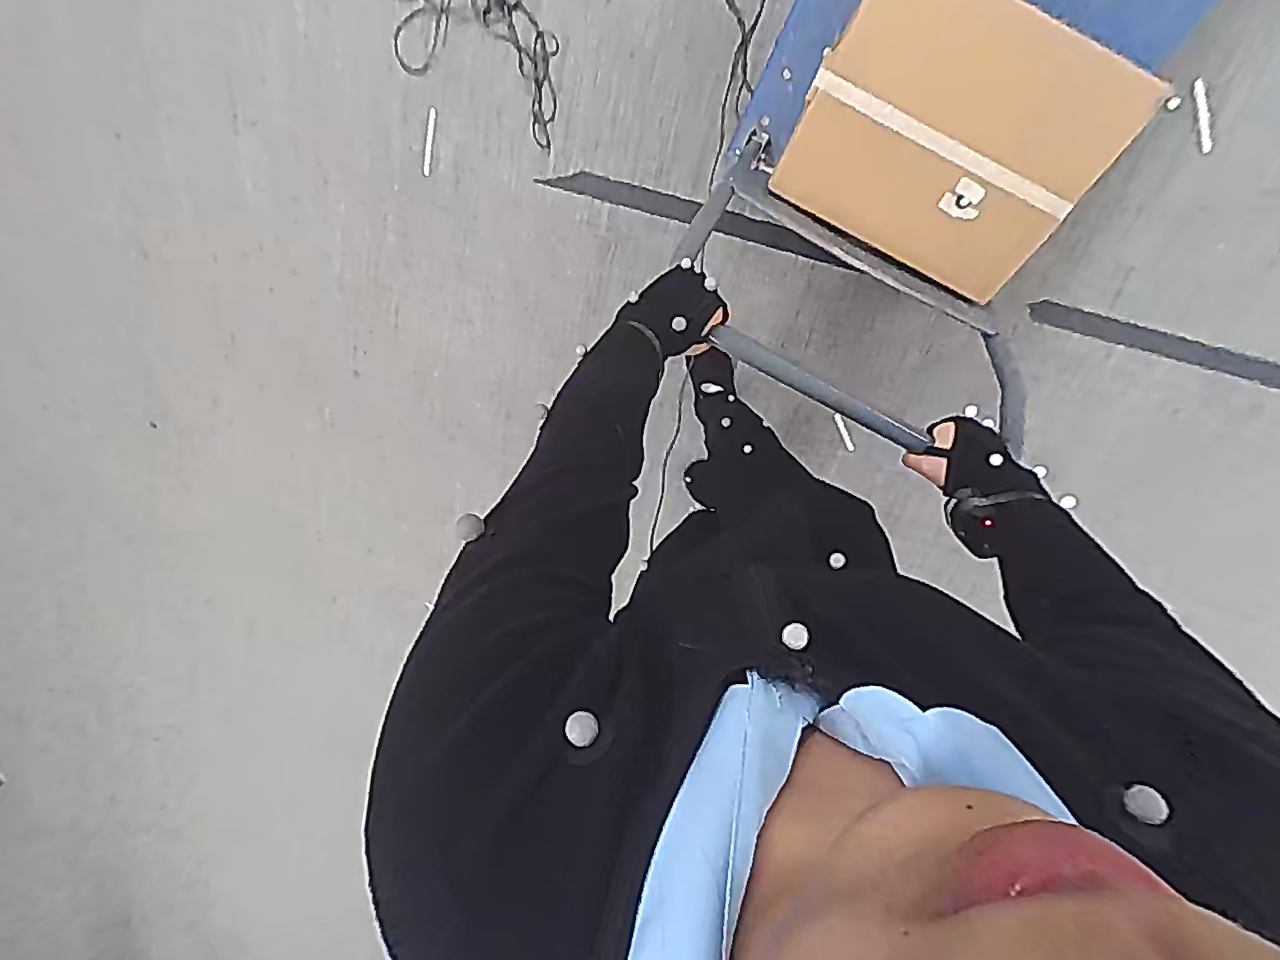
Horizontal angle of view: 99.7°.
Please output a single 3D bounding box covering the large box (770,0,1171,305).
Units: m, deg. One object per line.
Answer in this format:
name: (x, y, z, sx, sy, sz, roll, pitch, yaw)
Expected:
large box: (0.470, -0.557, 0.876, 0.408, 0.320, 0.320, 27, 132, -3)
